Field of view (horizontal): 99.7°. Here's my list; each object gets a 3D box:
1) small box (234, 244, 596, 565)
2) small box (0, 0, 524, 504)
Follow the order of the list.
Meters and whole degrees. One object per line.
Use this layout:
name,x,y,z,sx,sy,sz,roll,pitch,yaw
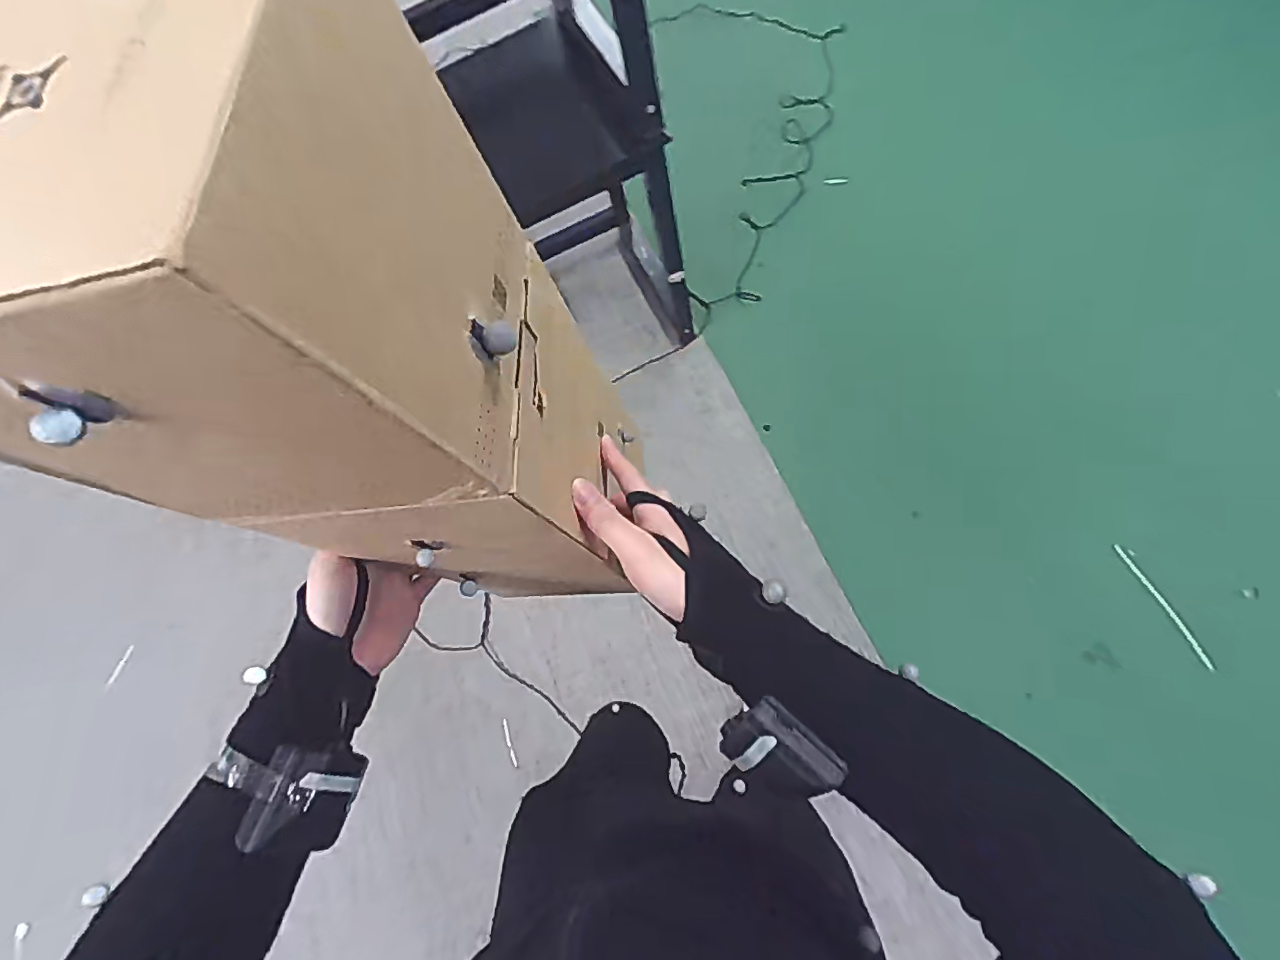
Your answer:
small box,-0.136,-0.037,0.398,0.179,0.176,0.168,-7,68,13
small box,-0.174,-0.092,0.249,0.179,0.176,0.168,-5,69,12
